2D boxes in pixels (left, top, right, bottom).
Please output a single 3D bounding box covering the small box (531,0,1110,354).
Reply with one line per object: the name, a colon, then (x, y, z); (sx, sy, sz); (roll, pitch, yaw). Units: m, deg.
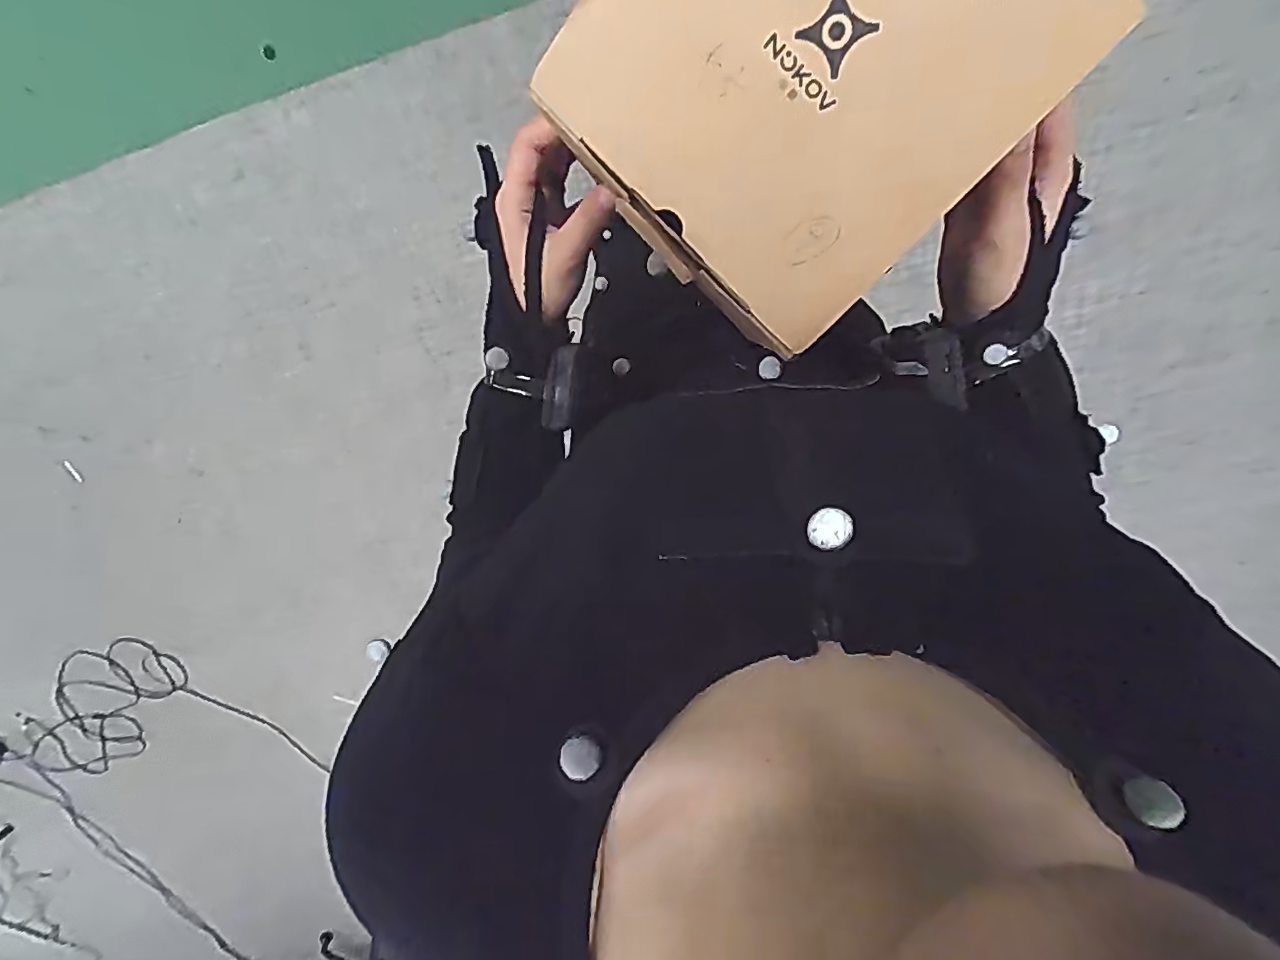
small box: (0.075, -0.194, 0.298); (0.168, 0.176, 0.179); (42, 107, -8)
